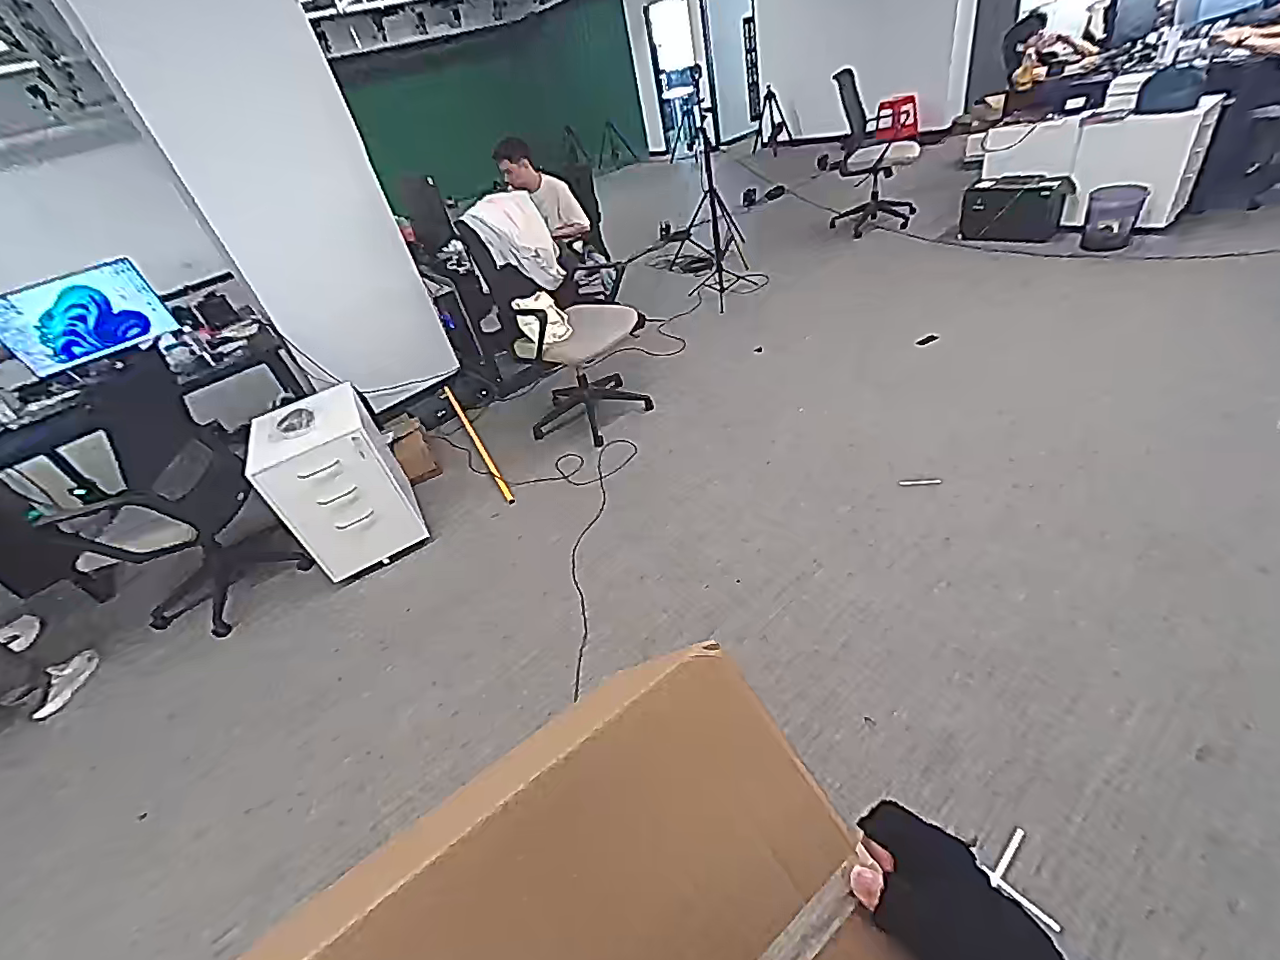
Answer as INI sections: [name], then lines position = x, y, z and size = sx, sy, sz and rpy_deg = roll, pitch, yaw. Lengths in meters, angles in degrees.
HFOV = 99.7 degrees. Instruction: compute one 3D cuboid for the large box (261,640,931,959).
[large box]
position = -0.057, 0.380, 0.394
size = 0.408, 0.320, 0.320
rpy_deg = -31, 78, -22
